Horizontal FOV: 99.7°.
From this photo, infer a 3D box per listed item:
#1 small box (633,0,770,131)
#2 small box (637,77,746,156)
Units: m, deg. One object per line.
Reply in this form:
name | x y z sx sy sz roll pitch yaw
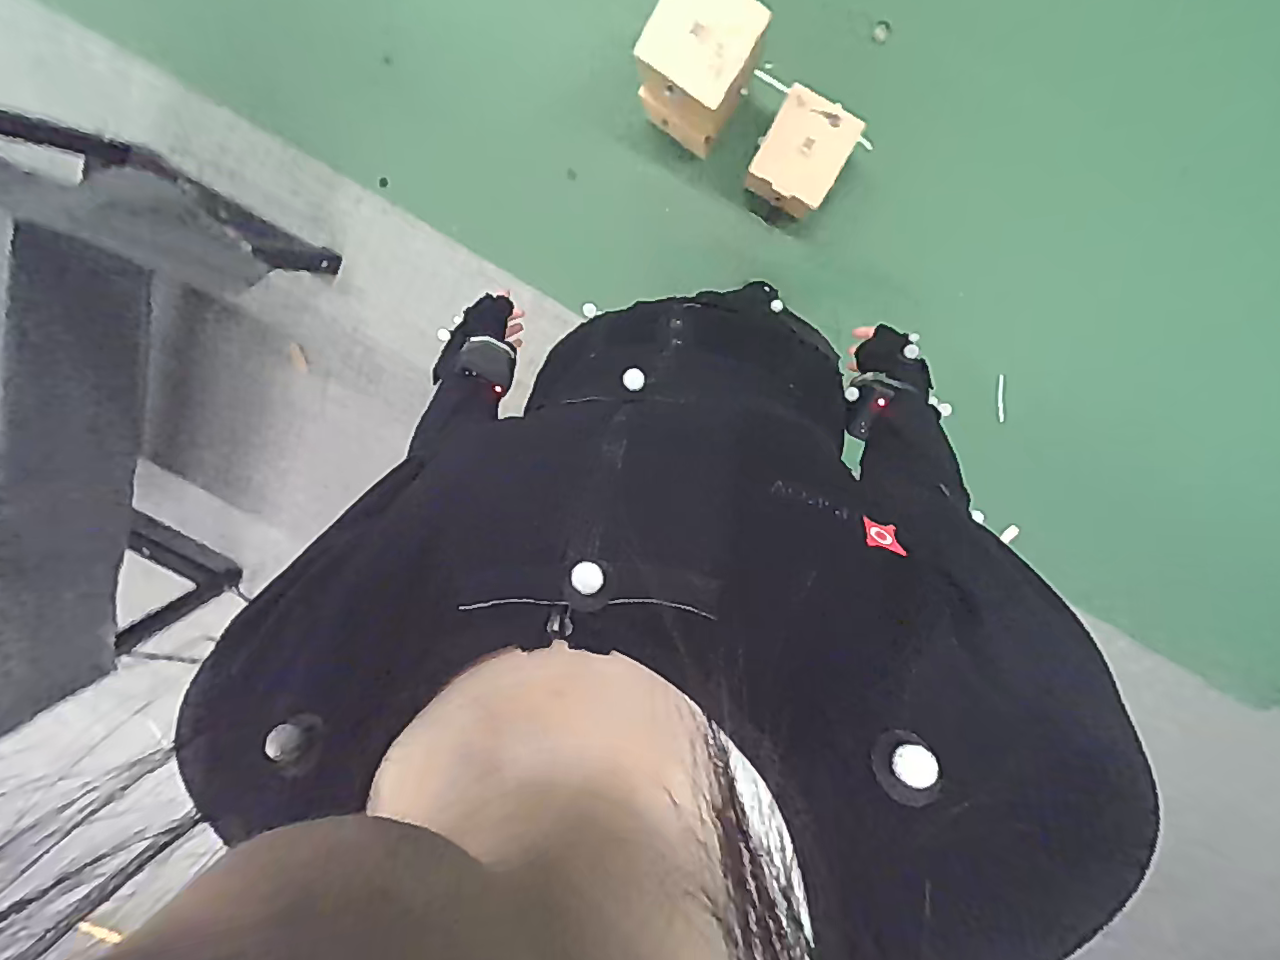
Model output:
small box | 0.111 -0.781 0.986 0.179 0.176 0.168 34 109 -4
small box | 0.118 -0.828 1.144 0.168 0.176 0.179 35 108 -4
